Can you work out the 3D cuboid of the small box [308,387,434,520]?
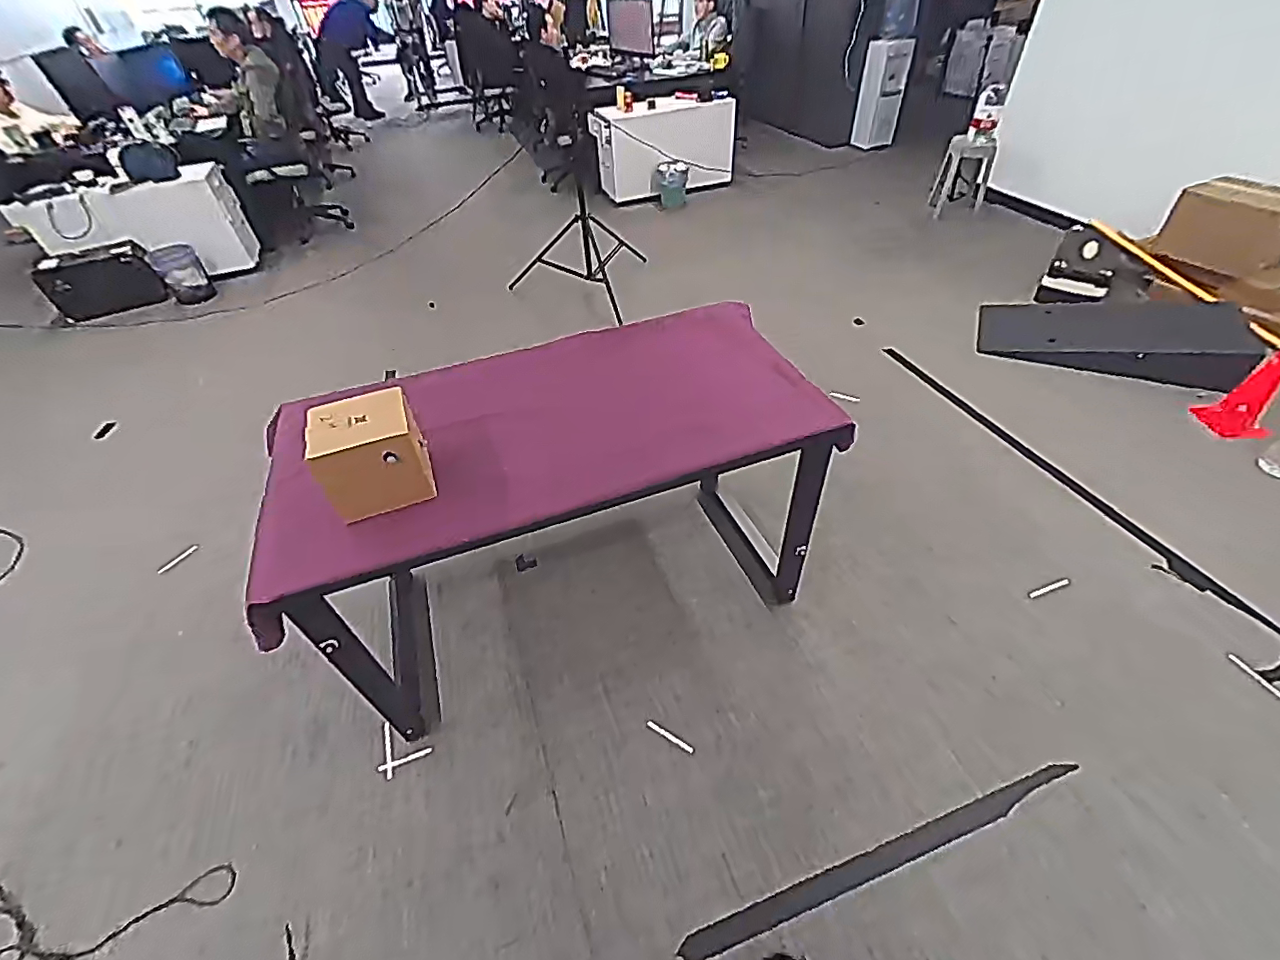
[{"bbox_3d":[-0.514,-0.051,1.052,0.179,0.176,0.168,-18,45,-14],"label":"small box"}]
